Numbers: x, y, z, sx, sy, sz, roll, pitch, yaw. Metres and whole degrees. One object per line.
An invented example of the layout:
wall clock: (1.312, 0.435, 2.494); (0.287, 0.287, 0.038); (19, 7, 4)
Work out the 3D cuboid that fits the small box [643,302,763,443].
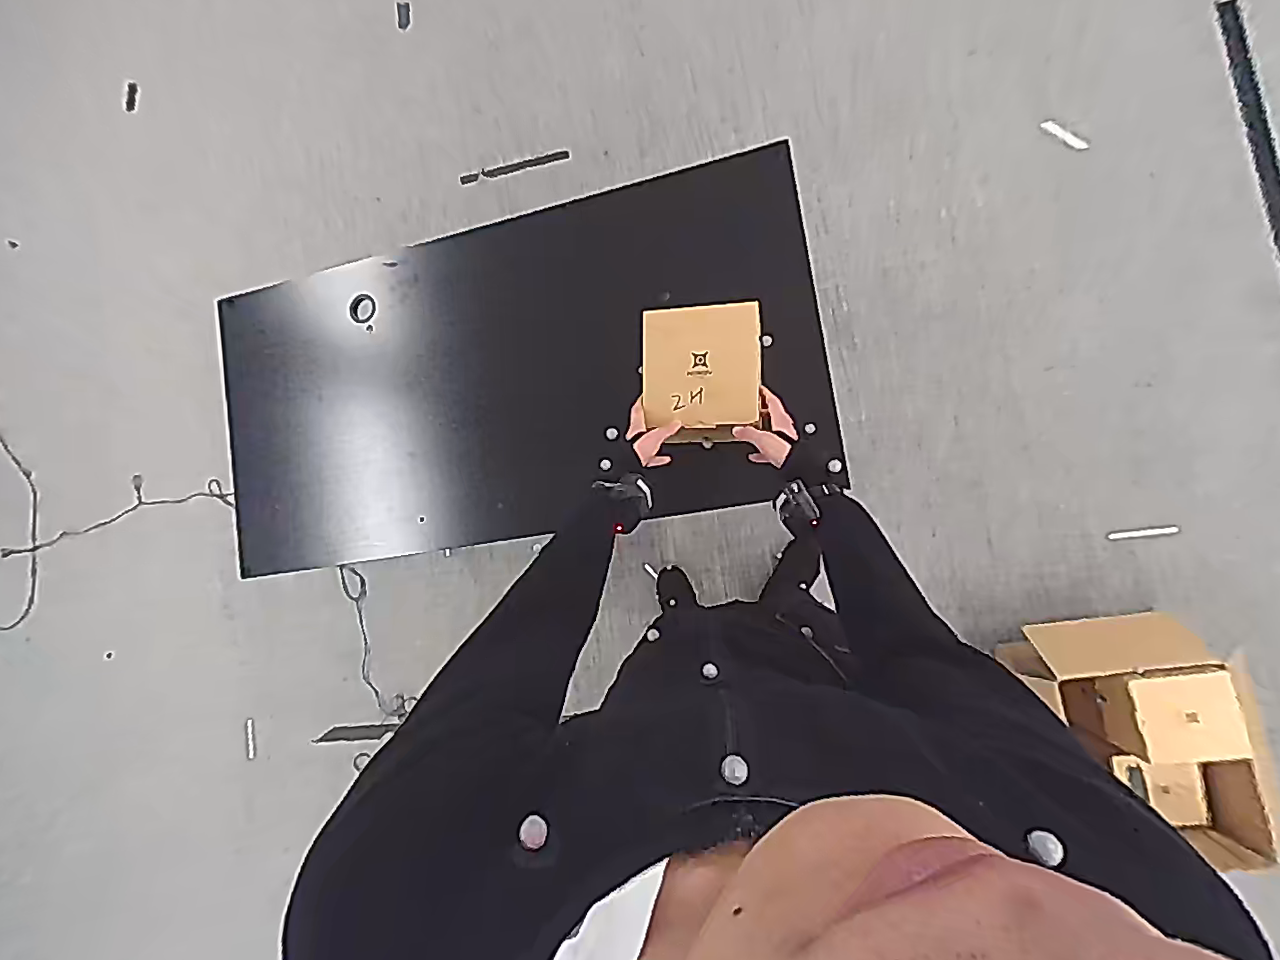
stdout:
small box: (0.103, -0.154, 0.833); (0.168, 0.176, 0.179); (0, 87, 14)
